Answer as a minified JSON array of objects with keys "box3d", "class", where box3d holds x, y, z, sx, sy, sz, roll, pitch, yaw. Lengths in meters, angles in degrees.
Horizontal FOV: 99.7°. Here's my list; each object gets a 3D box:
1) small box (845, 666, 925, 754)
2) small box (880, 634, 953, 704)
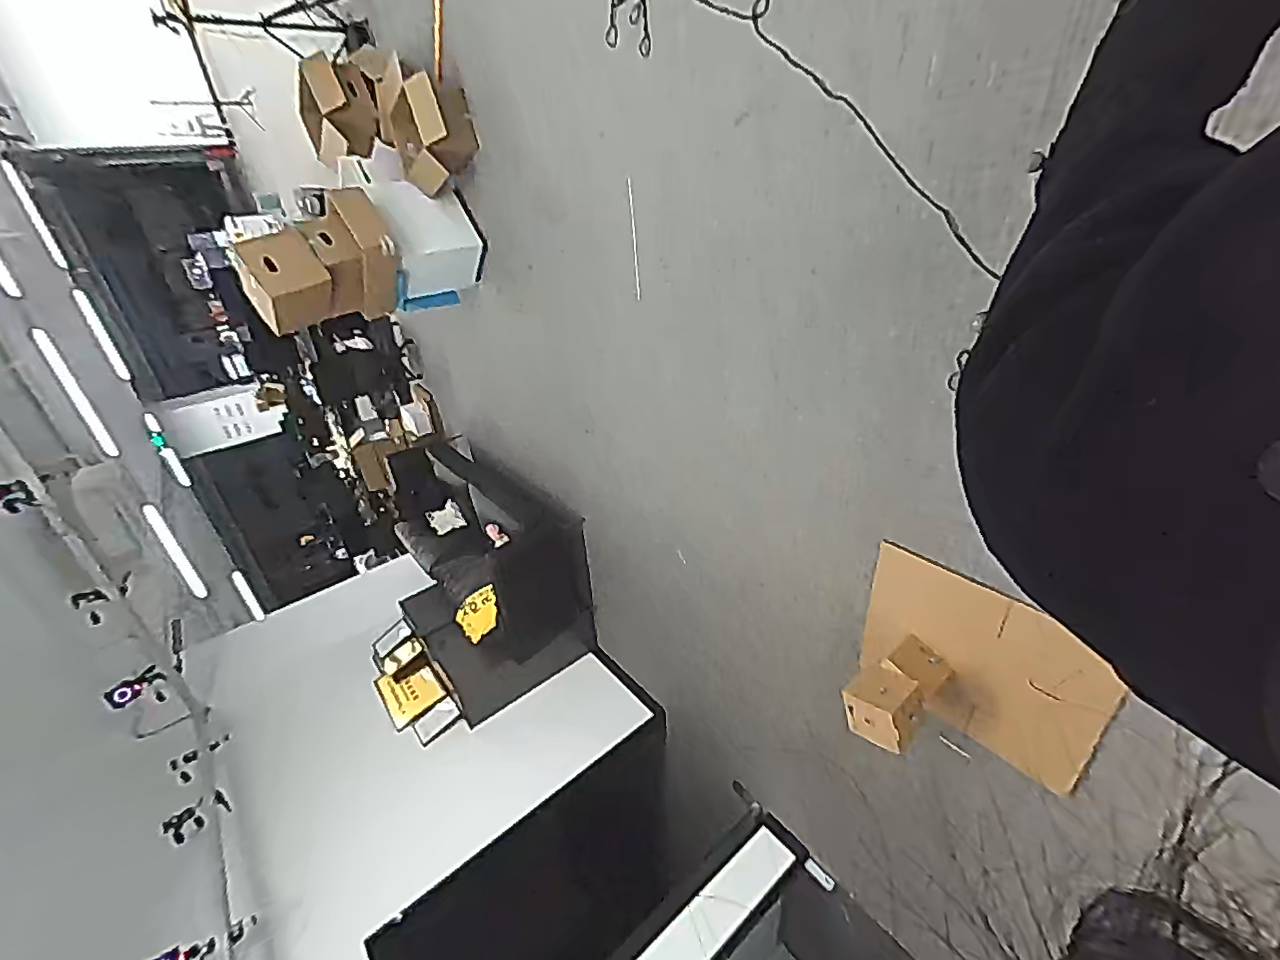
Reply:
[{"box3d":[0.795,0.729,1.742,0.179,0.176,0.168,7,118,54],"class":"small box"},{"box3d":[0.915,0.659,1.829,0.168,0.176,0.179,44,144,30],"class":"small box"}]
